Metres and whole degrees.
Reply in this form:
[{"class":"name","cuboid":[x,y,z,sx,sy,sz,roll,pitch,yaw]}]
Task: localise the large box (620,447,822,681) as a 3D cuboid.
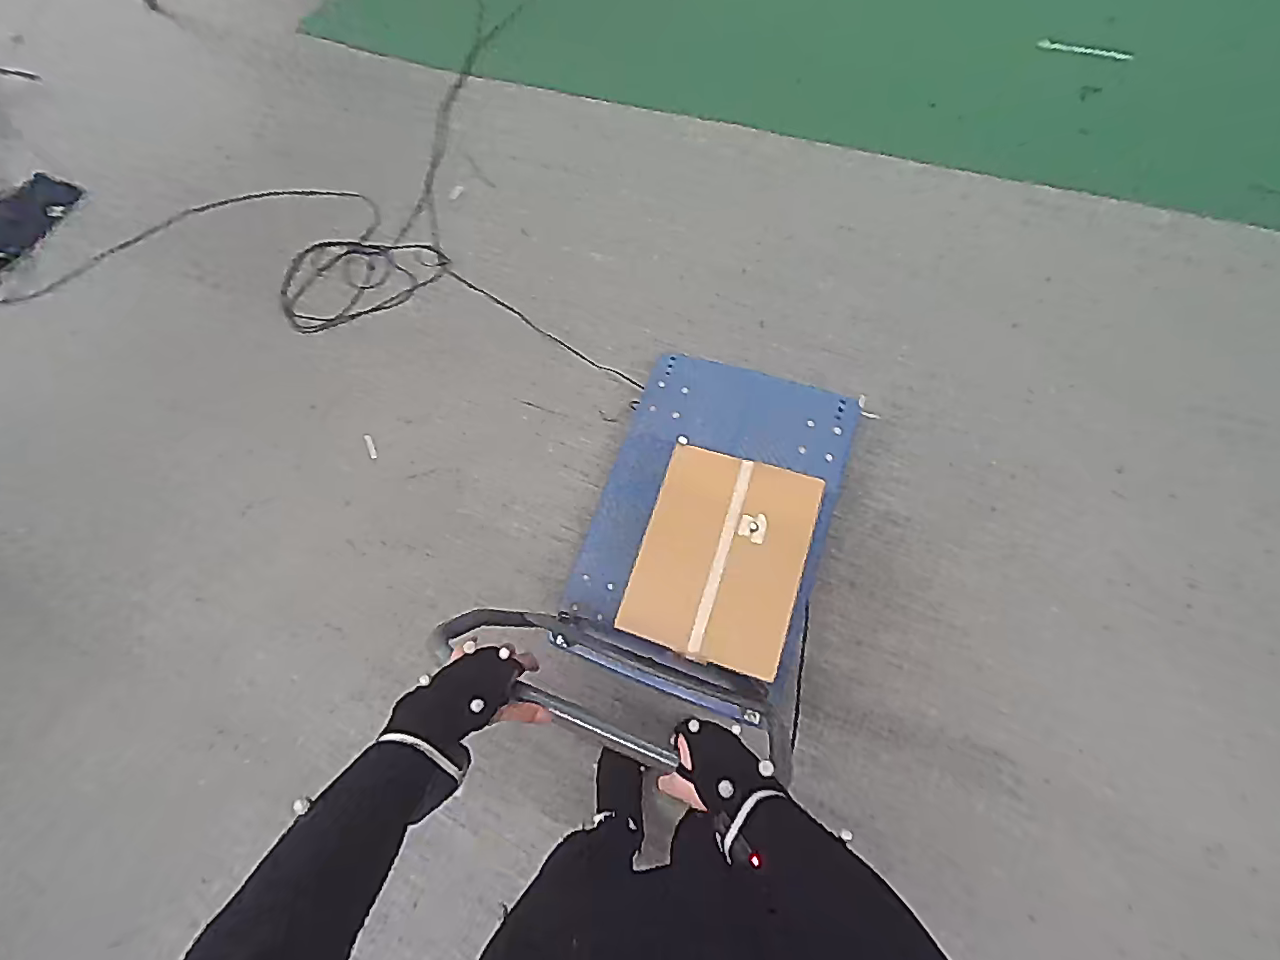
[{"class":"large box","cuboid":[0.182,0.197,1.197,0.320,0.320,0.408,16,73,13]}]
